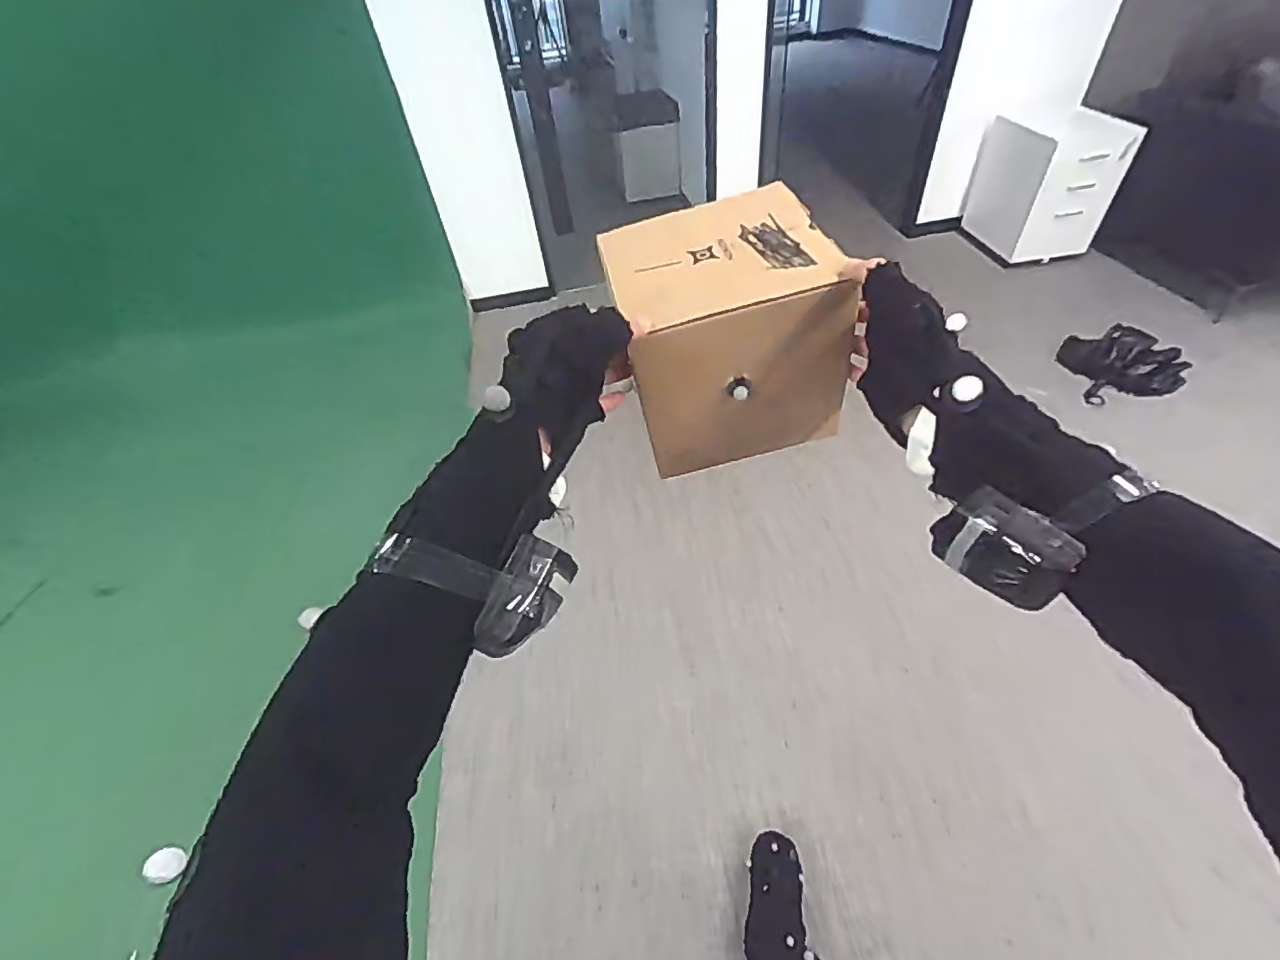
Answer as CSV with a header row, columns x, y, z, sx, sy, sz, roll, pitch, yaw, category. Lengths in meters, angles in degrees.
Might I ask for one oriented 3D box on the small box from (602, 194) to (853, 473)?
x,y,z,sx,sy,sz,roll,pitch,yaw,category
0.075,-0.133,0.512,0.179,0.176,0.168,-15,49,2,small box
